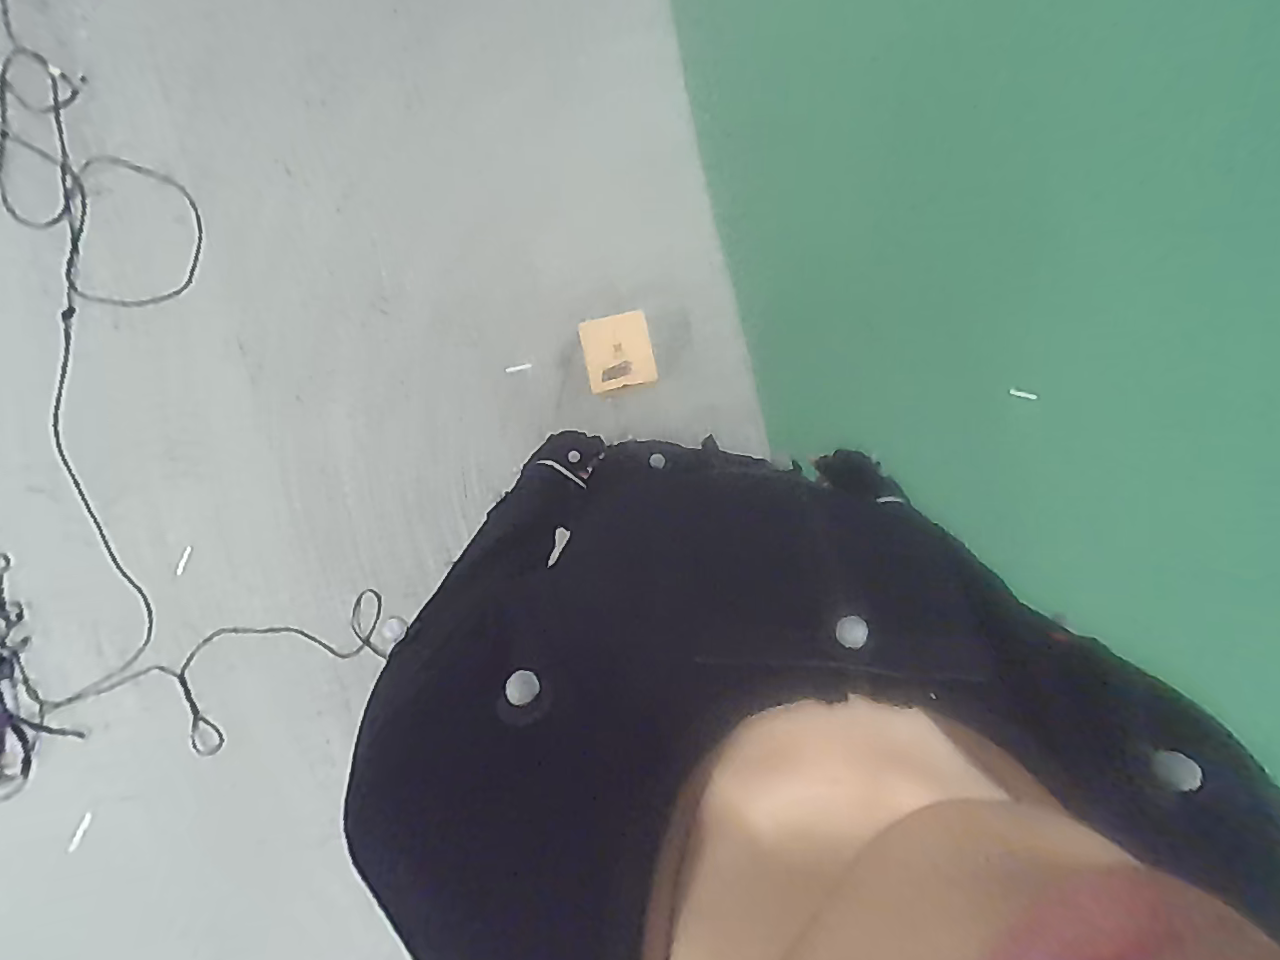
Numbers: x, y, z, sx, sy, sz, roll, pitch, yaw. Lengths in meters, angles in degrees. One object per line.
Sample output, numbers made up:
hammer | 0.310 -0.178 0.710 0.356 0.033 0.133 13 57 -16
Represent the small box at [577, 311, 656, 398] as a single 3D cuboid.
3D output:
small box | -0.055 -0.308 1.373 0.168 0.176 0.179 -12 93 1
